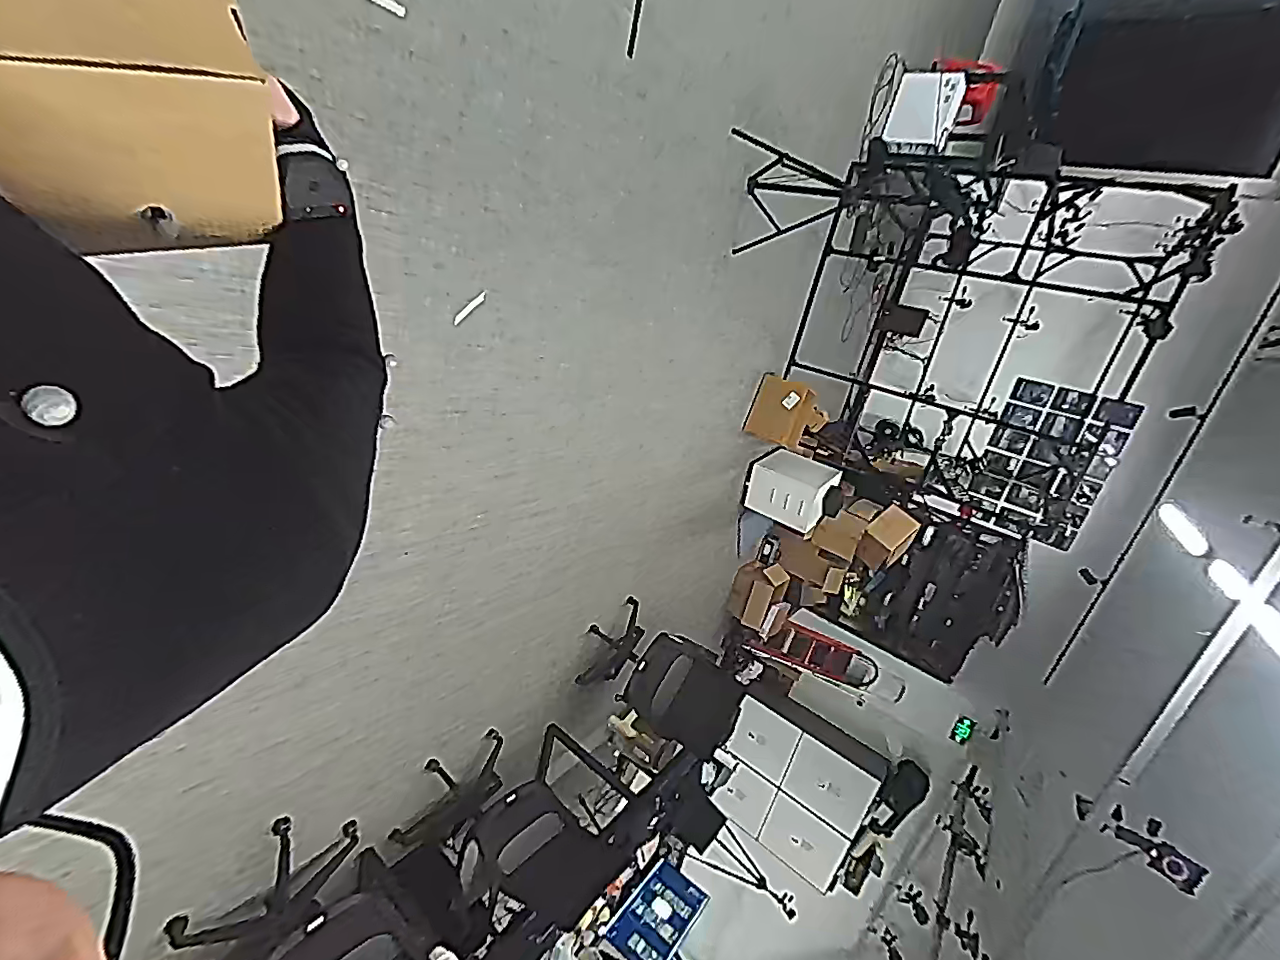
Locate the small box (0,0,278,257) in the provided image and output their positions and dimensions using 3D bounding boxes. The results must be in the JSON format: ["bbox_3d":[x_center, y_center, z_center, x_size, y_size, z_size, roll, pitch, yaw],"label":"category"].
[{"bbox_3d":[-0.403,-0.297,0.415,0.179,0.168,0.176,-23,174,-34],"label":"small box"}]
